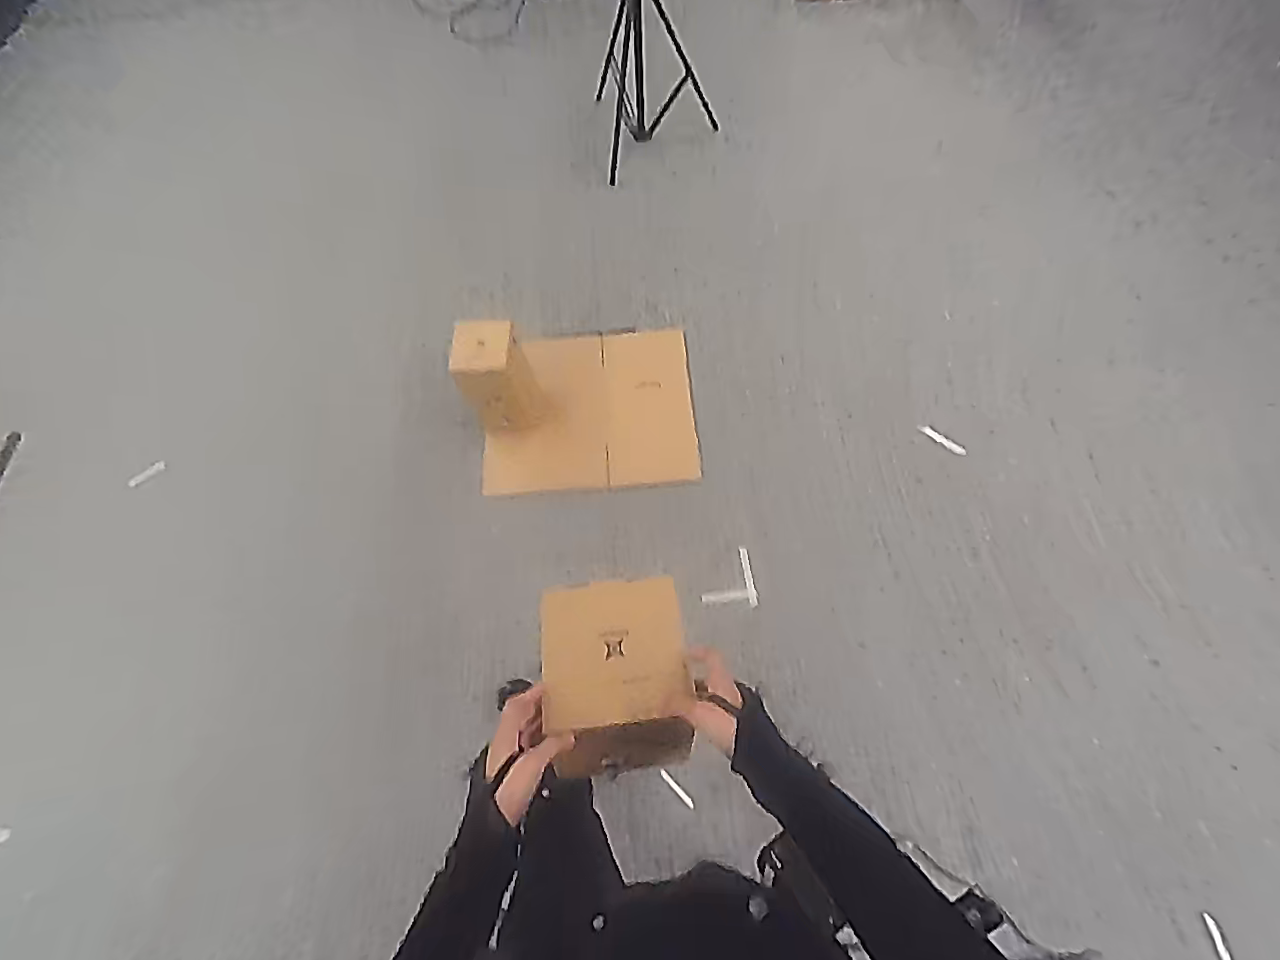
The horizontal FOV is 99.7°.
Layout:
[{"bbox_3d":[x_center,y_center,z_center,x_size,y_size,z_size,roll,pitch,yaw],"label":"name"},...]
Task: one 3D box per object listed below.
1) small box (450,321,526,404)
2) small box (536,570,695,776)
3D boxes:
[{"bbox_3d":[-0.442,-0.346,1.602,0.168,0.176,0.179,-2,65,3],"label":"small box"},{"bbox_3d":[-0.034,0.236,0.664,0.168,0.176,0.179,-6,46,-5],"label":"small box"}]
